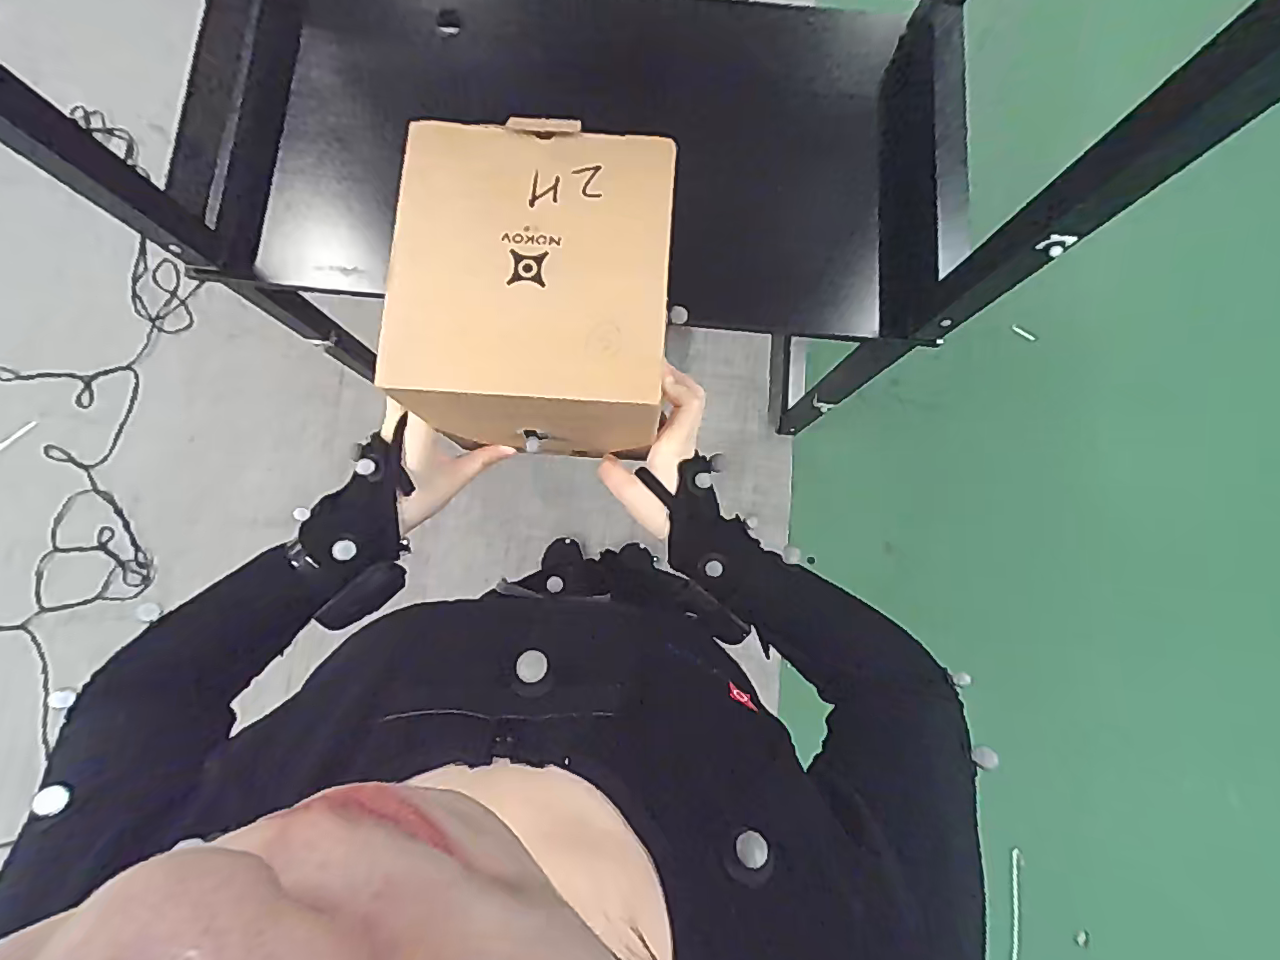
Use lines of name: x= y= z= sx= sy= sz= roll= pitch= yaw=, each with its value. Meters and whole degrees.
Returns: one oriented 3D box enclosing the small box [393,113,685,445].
small box: x=-0.060 y=-0.128 z=0.406 sx=0.168 sy=0.176 sz=0.179 roll=4 pitch=82 yaw=-1
